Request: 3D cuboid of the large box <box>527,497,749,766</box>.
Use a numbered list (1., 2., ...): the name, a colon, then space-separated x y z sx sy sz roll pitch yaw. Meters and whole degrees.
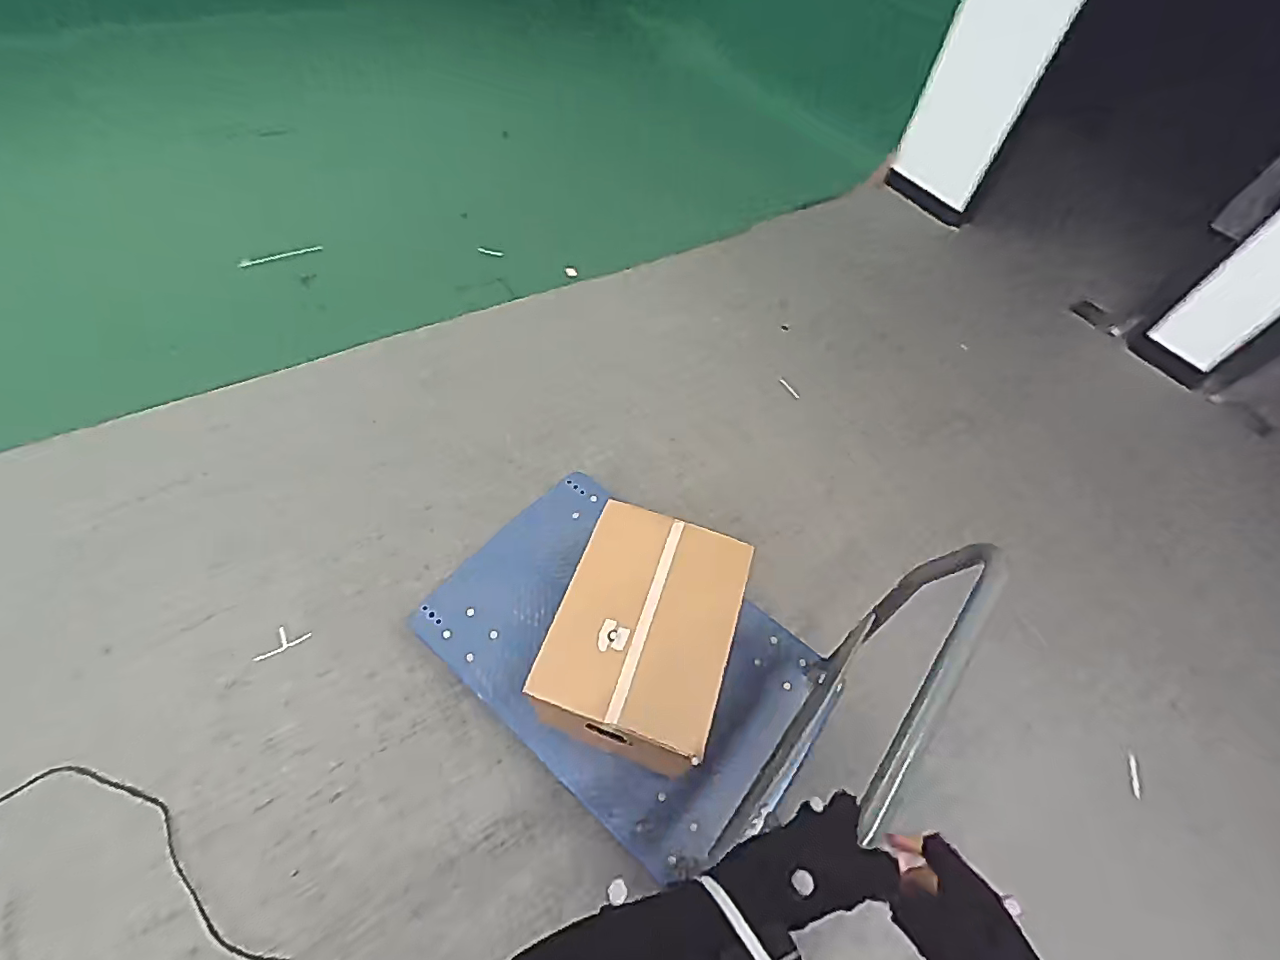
1. large box: 0.002 0.313 1.113 0.320 0.320 0.408 18 58 7
